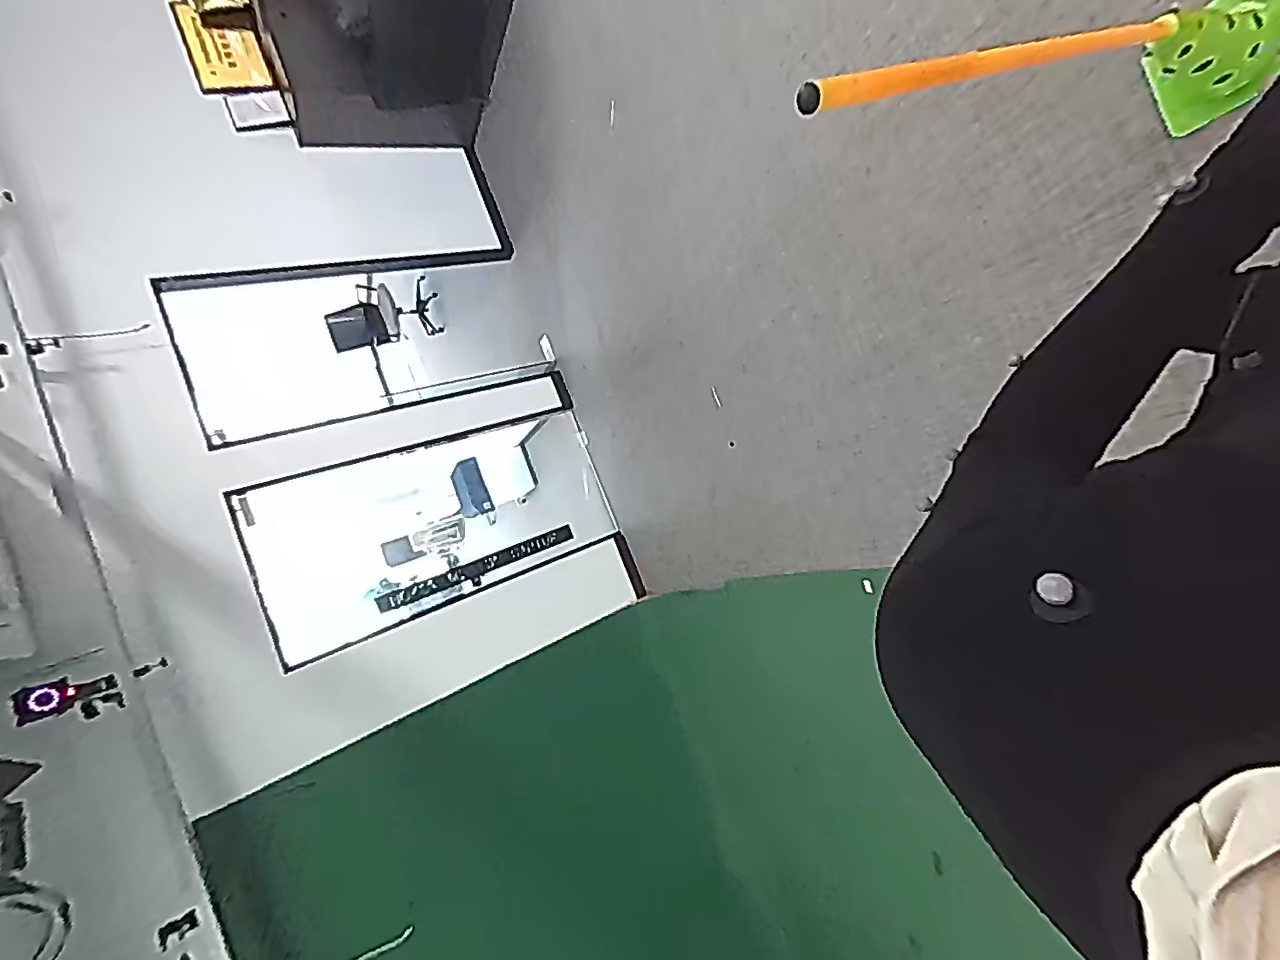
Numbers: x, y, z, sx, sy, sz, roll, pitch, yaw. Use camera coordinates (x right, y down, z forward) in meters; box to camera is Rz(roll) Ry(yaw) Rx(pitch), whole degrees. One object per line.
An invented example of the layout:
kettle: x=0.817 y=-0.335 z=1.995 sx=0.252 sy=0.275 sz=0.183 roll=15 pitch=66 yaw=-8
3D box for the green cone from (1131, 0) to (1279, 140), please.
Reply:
green cone: x=0.934 y=-0.738 z=0.921 sx=0.202 sy=0.368 sz=0.200 roll=-23 pitch=88 yaw=58
